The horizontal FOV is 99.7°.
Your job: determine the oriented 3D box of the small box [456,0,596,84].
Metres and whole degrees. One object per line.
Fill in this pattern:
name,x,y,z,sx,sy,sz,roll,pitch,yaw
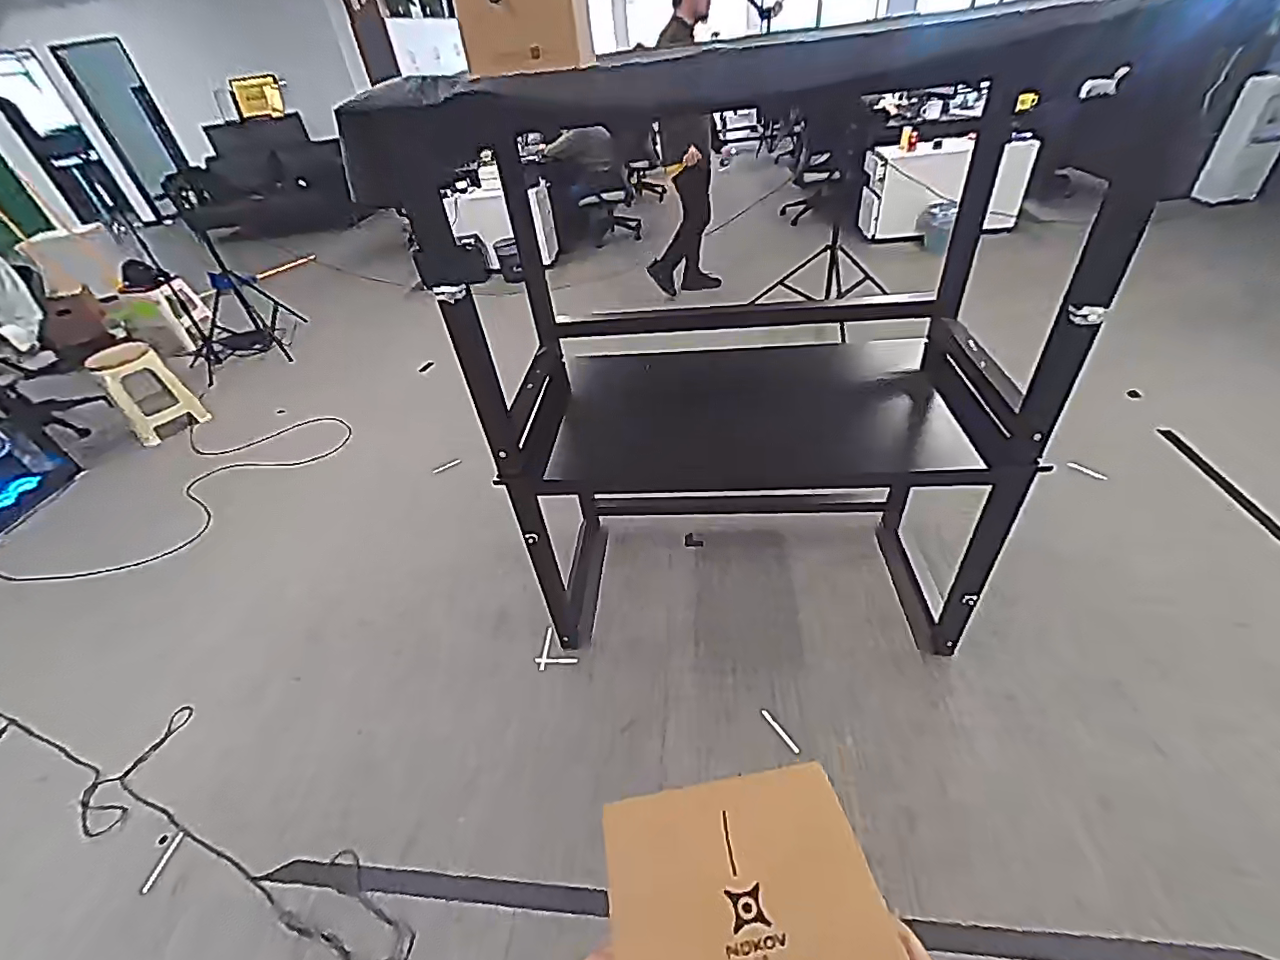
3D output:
small box,-0.165,-0.699,0.801,0.168,0.176,0.179,-1,38,6

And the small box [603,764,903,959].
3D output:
small box,0.072,0.333,0.361,0.168,0.176,0.179,-9,31,-4
